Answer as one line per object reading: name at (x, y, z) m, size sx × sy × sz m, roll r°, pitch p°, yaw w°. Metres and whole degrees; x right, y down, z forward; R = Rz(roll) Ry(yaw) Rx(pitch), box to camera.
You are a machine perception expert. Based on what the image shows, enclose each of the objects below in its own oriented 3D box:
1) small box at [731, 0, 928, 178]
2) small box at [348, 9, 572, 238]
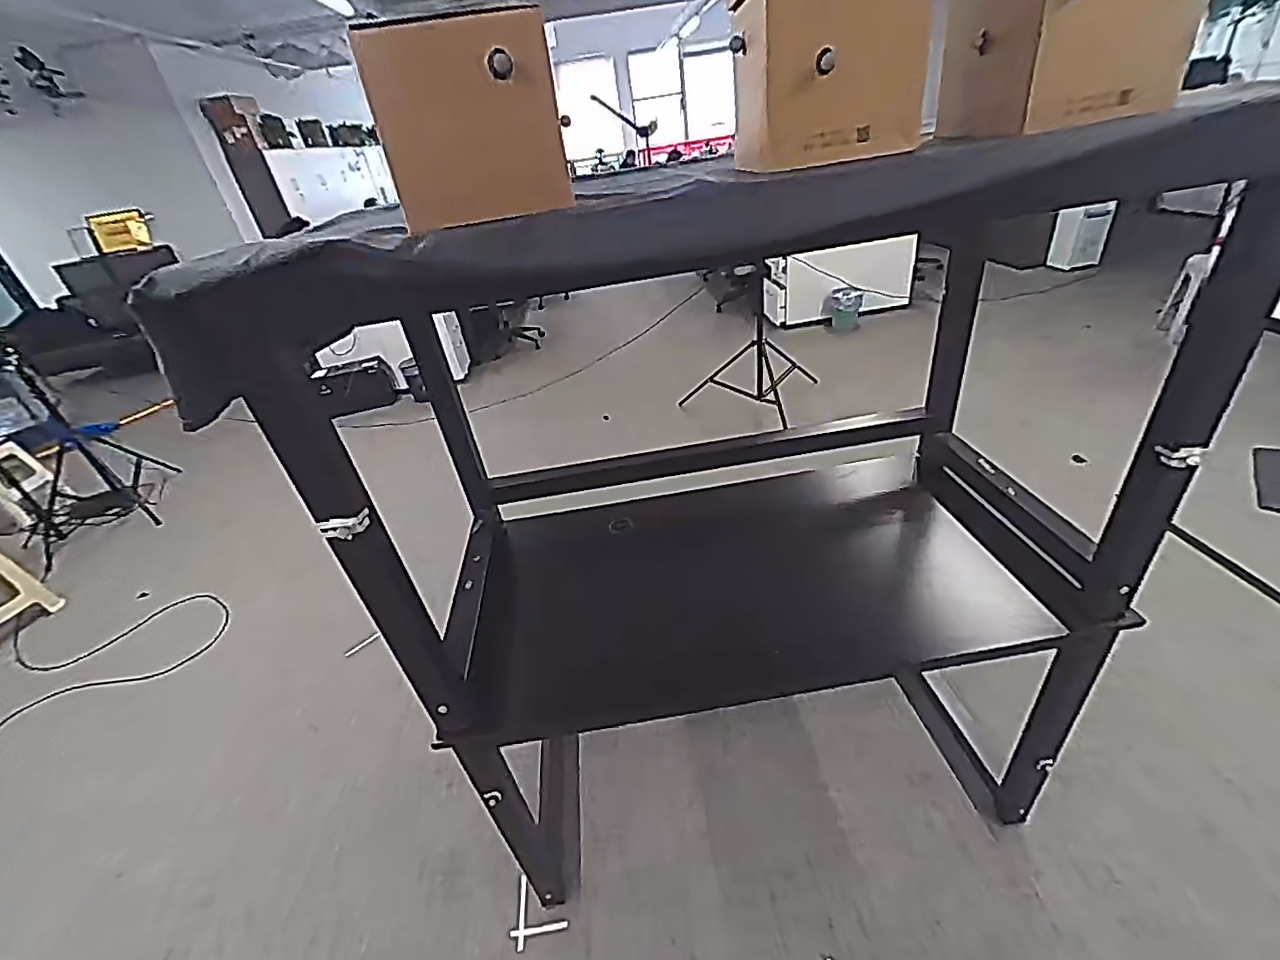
small box at (0.203, -0.447, 0.609) m, size 0.168 × 0.176 × 0.179 m, roll -8°, pitch 31°, yaw 2°
small box at (-0.172, -0.373, 0.584) m, size 0.179 × 0.176 × 0.168 m, roll -12°, pitch 31°, yaw -4°
